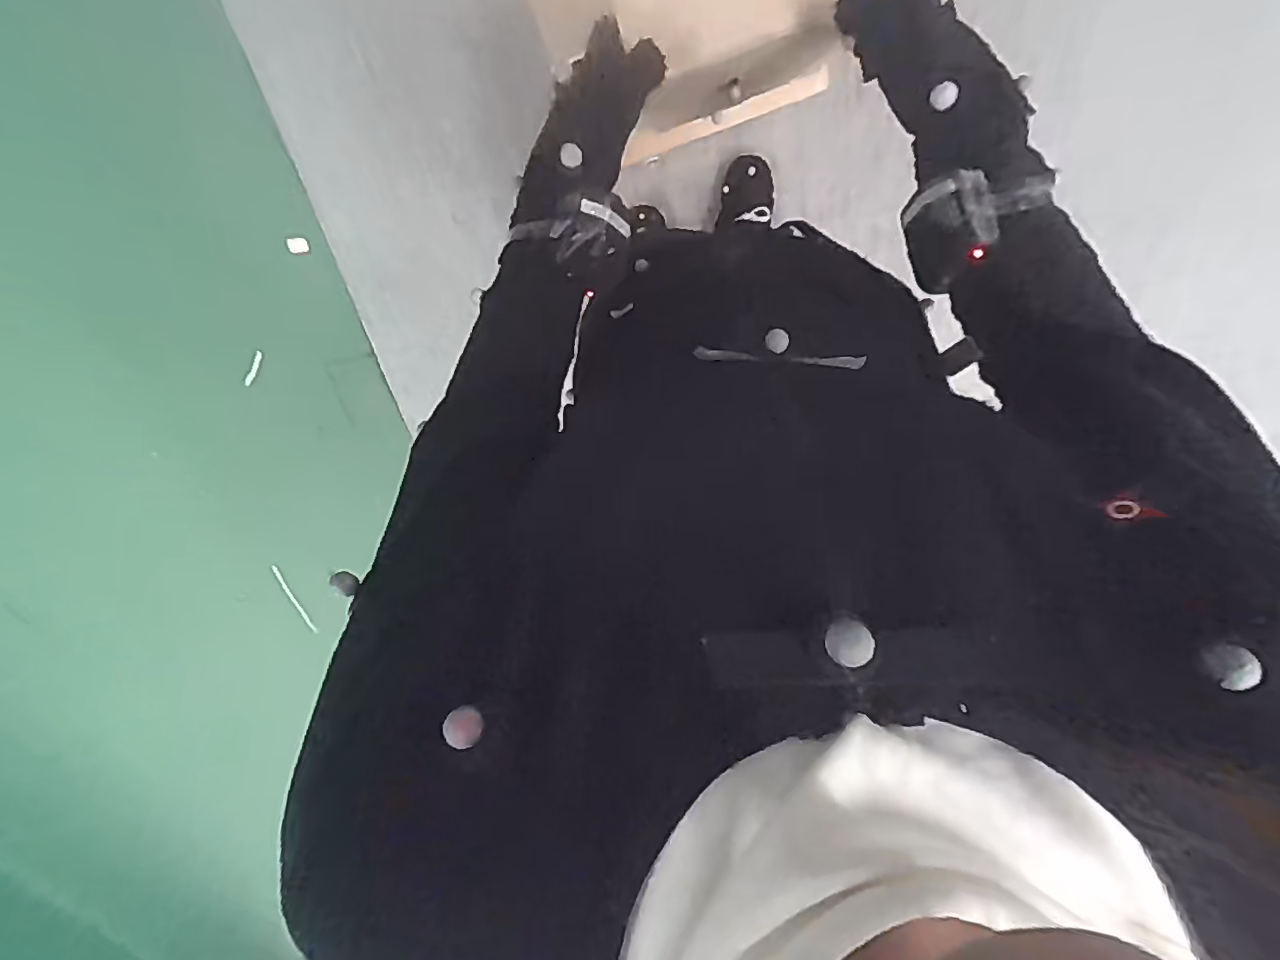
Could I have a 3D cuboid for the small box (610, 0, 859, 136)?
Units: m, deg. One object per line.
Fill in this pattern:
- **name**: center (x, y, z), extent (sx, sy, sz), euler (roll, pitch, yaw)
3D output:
- **small box**: center (0.065, -0.427, 0.460), extent (0.179, 0.176, 0.168), euler (-14, 108, 14)
